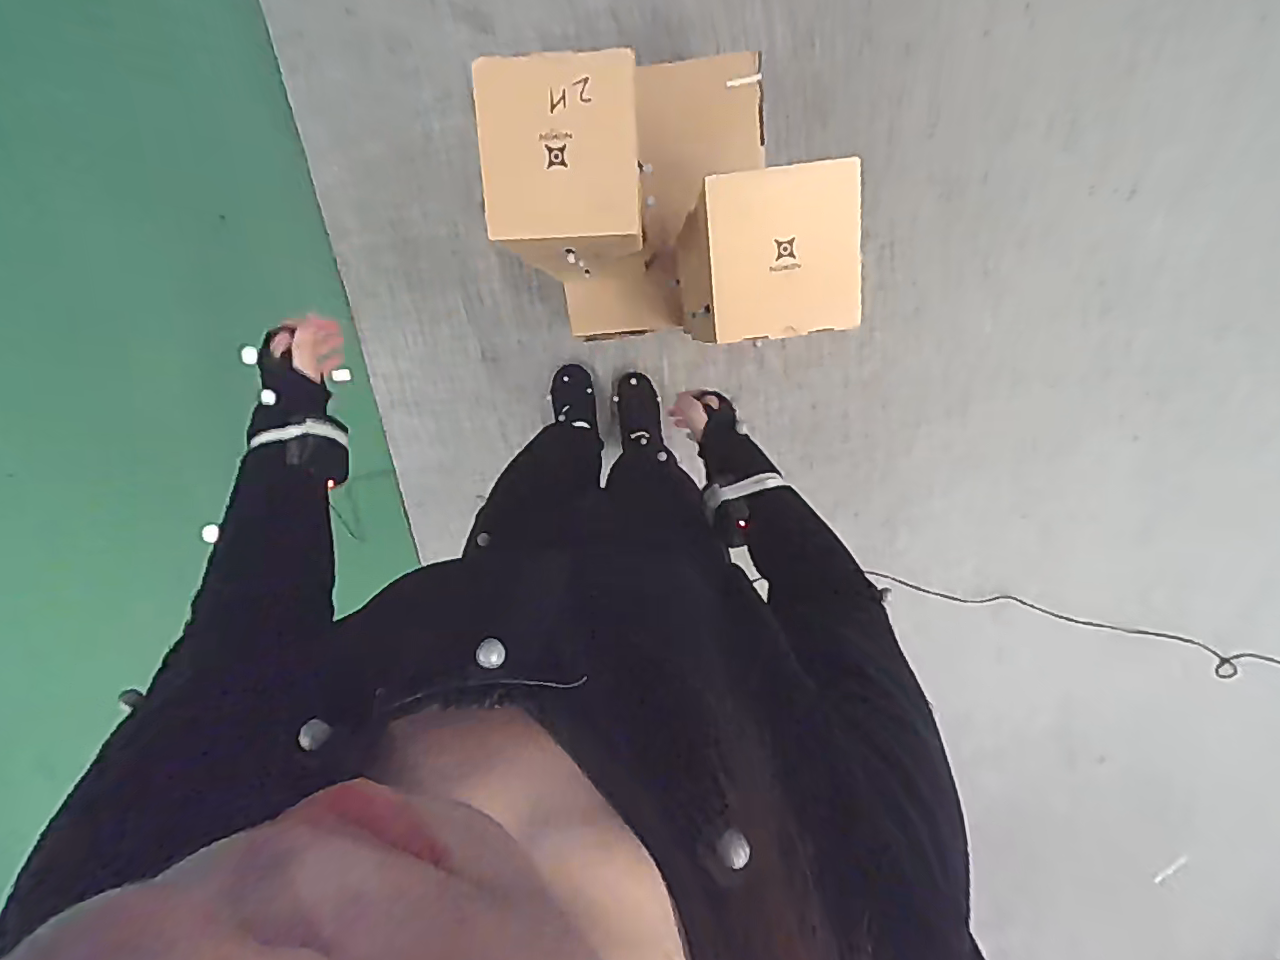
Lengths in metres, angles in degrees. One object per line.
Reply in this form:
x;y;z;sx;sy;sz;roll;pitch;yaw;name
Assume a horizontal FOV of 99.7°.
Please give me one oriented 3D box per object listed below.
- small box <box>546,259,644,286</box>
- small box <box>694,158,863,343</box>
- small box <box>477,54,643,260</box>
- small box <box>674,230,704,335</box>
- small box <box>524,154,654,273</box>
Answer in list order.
-0.083;-0.455;0.961;0.168;0.176;0.179;-6;103;3;small box
0.160;-0.267;0.667;0.168;0.176;0.179;-7;105;2;small box
-0.081;-0.363;0.643;0.168;0.176;0.179;-1;104;1;small box
0.159;-0.360;0.981;0.179;0.176;0.168;-8;104;4;small box
-0.079;-0.411;0.799;0.179;0.176;0.168;-7;104;6;small box
